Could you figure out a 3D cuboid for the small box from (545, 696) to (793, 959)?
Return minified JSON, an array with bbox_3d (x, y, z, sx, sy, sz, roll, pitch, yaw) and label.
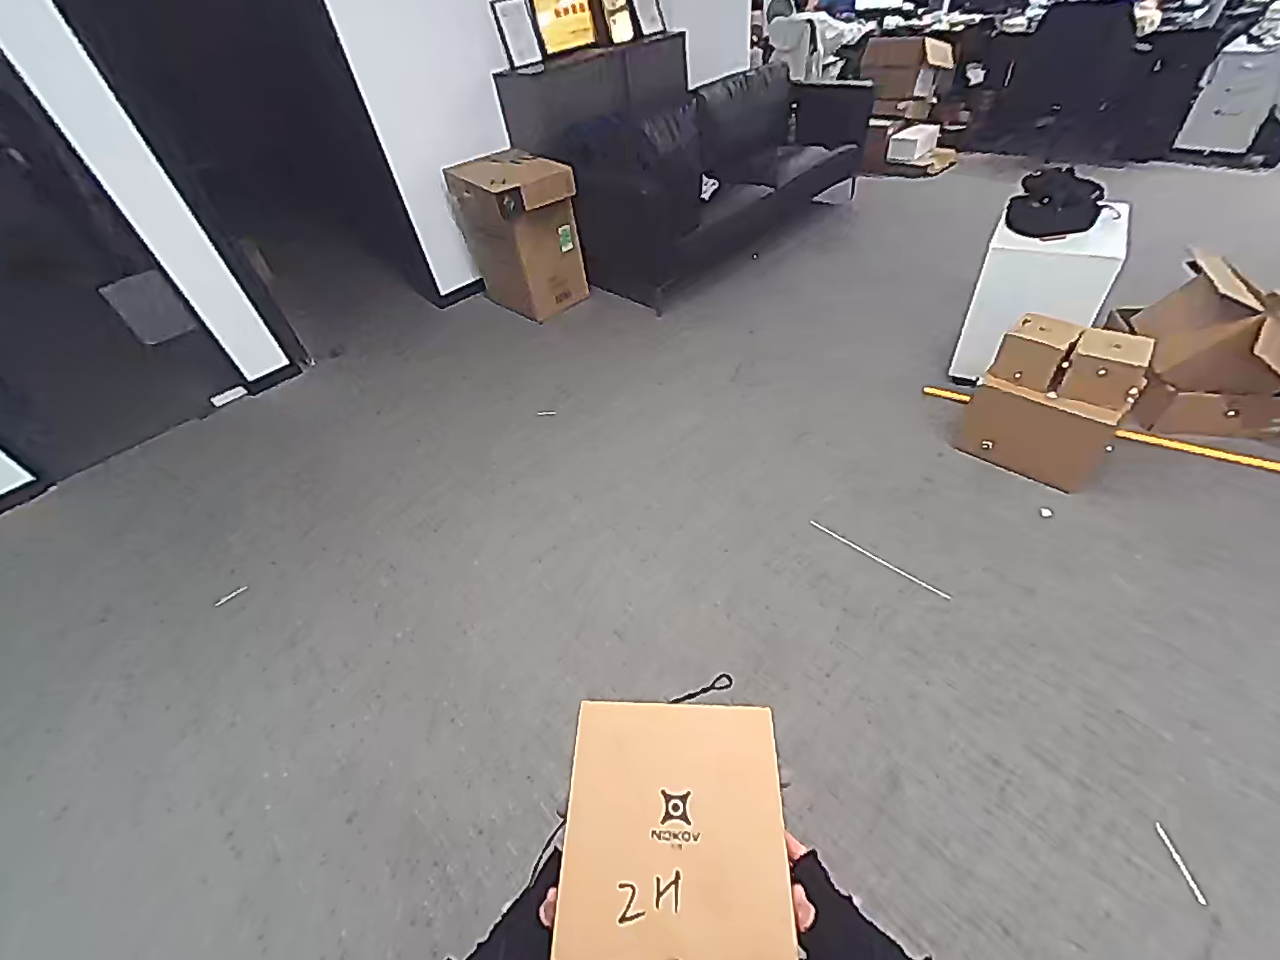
[{"bbox_3d":[0.025,0.307,0.464,0.168,0.176,0.179,1,49,4],"label":"small box"}]
